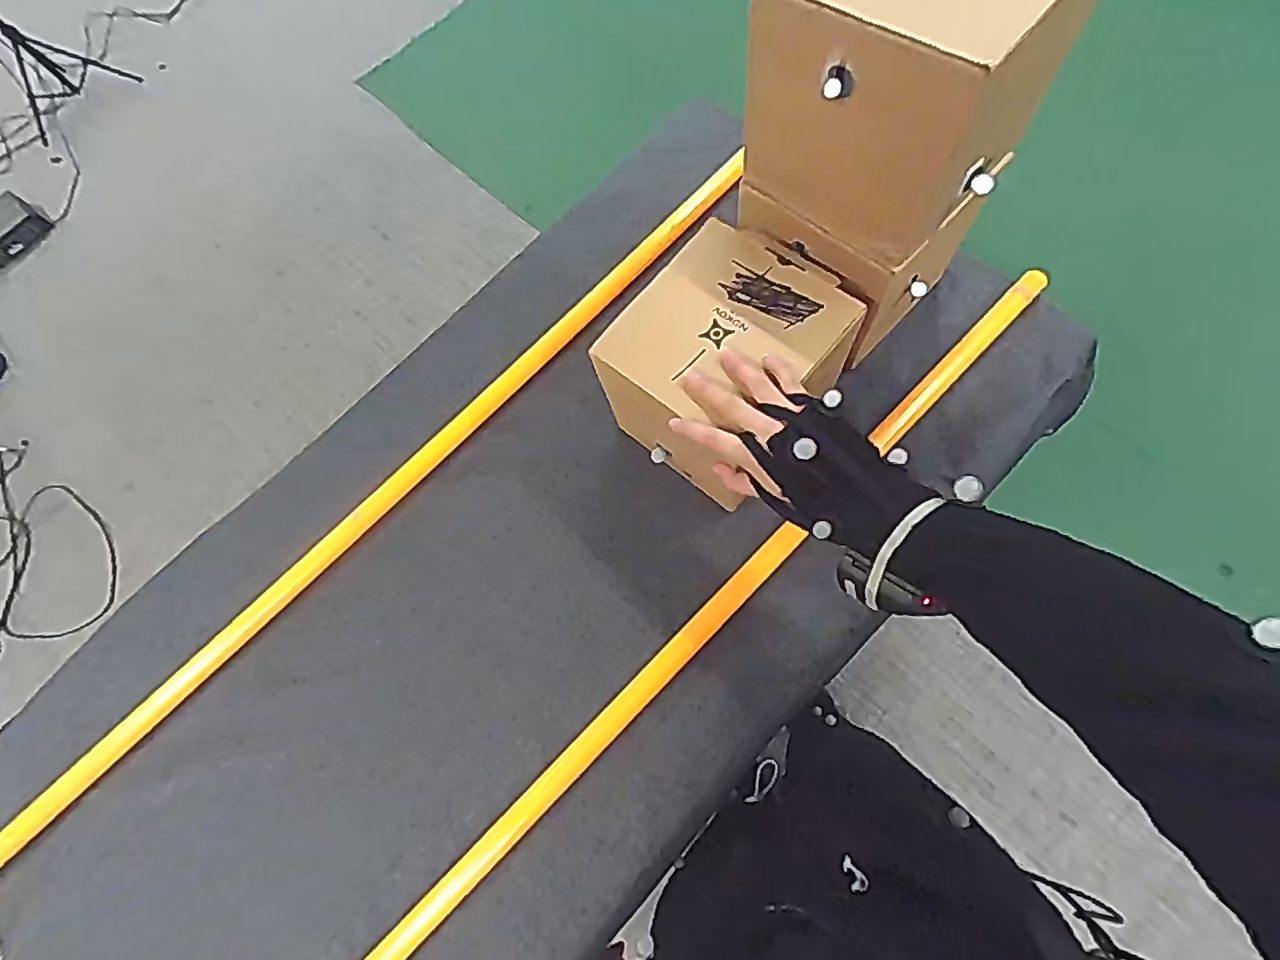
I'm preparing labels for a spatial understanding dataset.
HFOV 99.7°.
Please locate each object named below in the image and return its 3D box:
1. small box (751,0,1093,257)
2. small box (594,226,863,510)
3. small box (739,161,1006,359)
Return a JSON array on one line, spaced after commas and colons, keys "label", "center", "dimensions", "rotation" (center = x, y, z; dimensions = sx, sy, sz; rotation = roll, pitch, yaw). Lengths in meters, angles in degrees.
[{"label": "small box", "center": [0.201, -0.313, 0.421], "dimensions": [0.179, 0.176, 0.168], "rotation": [40, 82, 19]}, {"label": "small box", "center": [0.082, -0.099, 0.536], "dimensions": [0.168, 0.176, 0.179], "rotation": [38, 80, 19]}, {"label": "small box", "center": [0.223, -0.254, 0.571], "dimensions": [0.179, 0.176, 0.168], "rotation": [42, 82, 20]}]
